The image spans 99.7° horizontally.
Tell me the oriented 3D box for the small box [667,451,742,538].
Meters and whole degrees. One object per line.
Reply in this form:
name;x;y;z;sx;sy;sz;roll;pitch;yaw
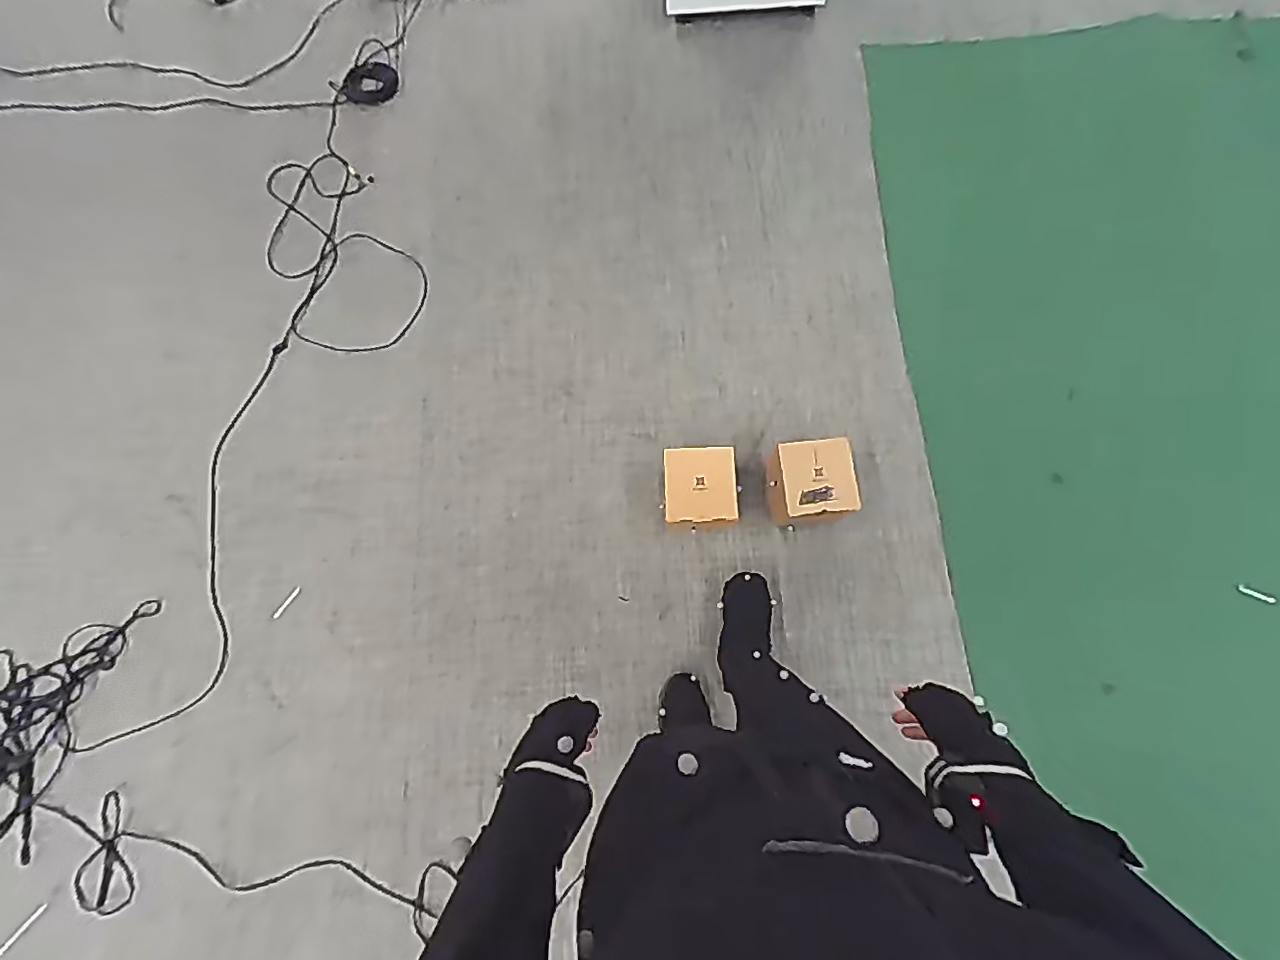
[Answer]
small box;0.151;0.040;1.319;0.168;0.176;0.179;-2;75;3

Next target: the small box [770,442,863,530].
small box;0.418;0.022;1.307;0.168;0.176;0.179;-5;75;2
